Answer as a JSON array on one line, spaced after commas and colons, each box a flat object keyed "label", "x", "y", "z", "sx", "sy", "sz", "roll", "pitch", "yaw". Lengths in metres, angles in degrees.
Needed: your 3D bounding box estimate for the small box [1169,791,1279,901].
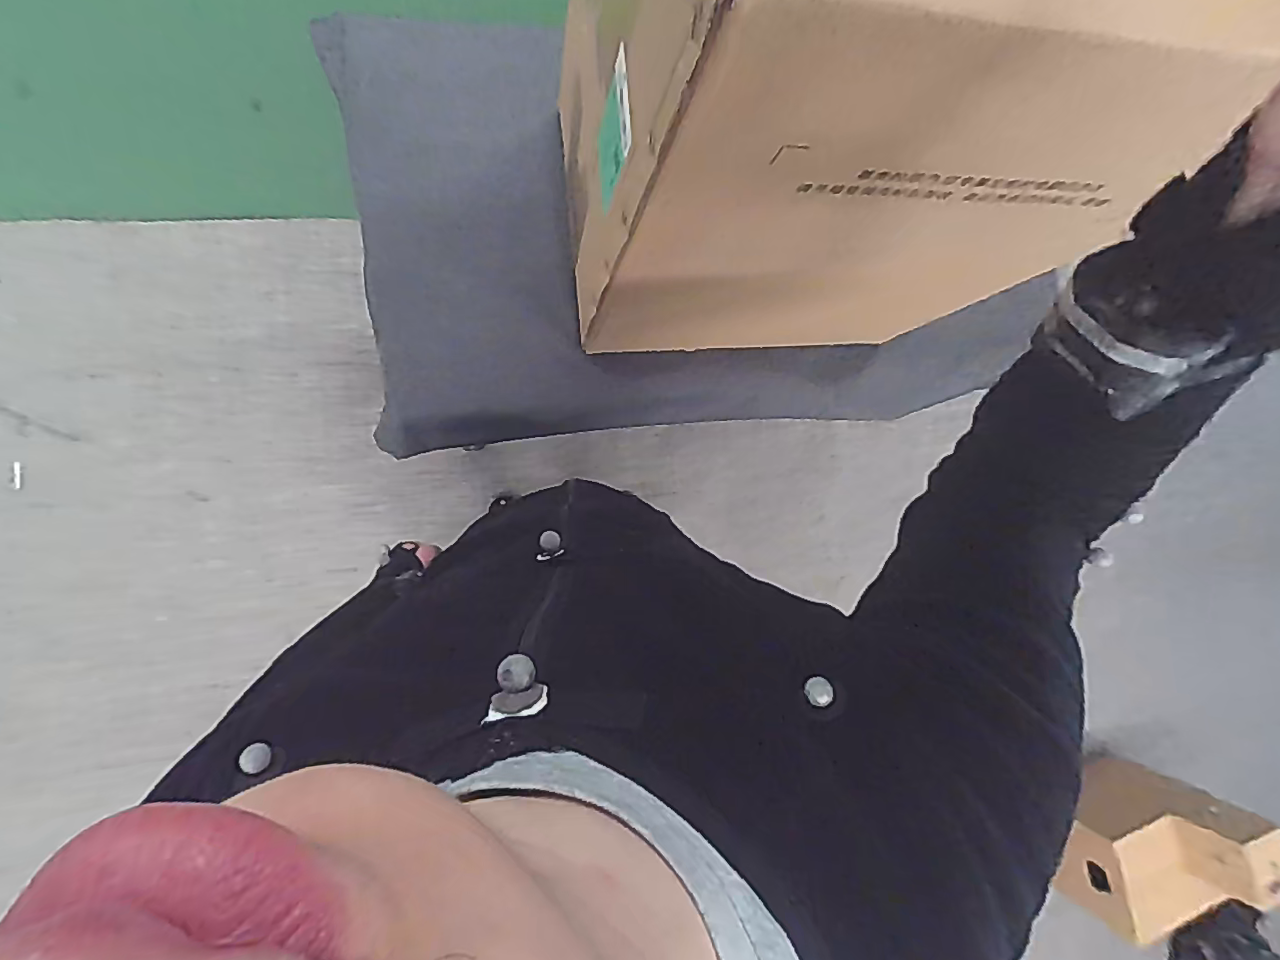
[{"label": "small box", "x": 1.675, "y": 1.031, "z": 1.538, "sx": 0.168, "sy": 0.176, "sz": 0.179, "roll": -12, "pitch": 87, "yaw": -12}]
